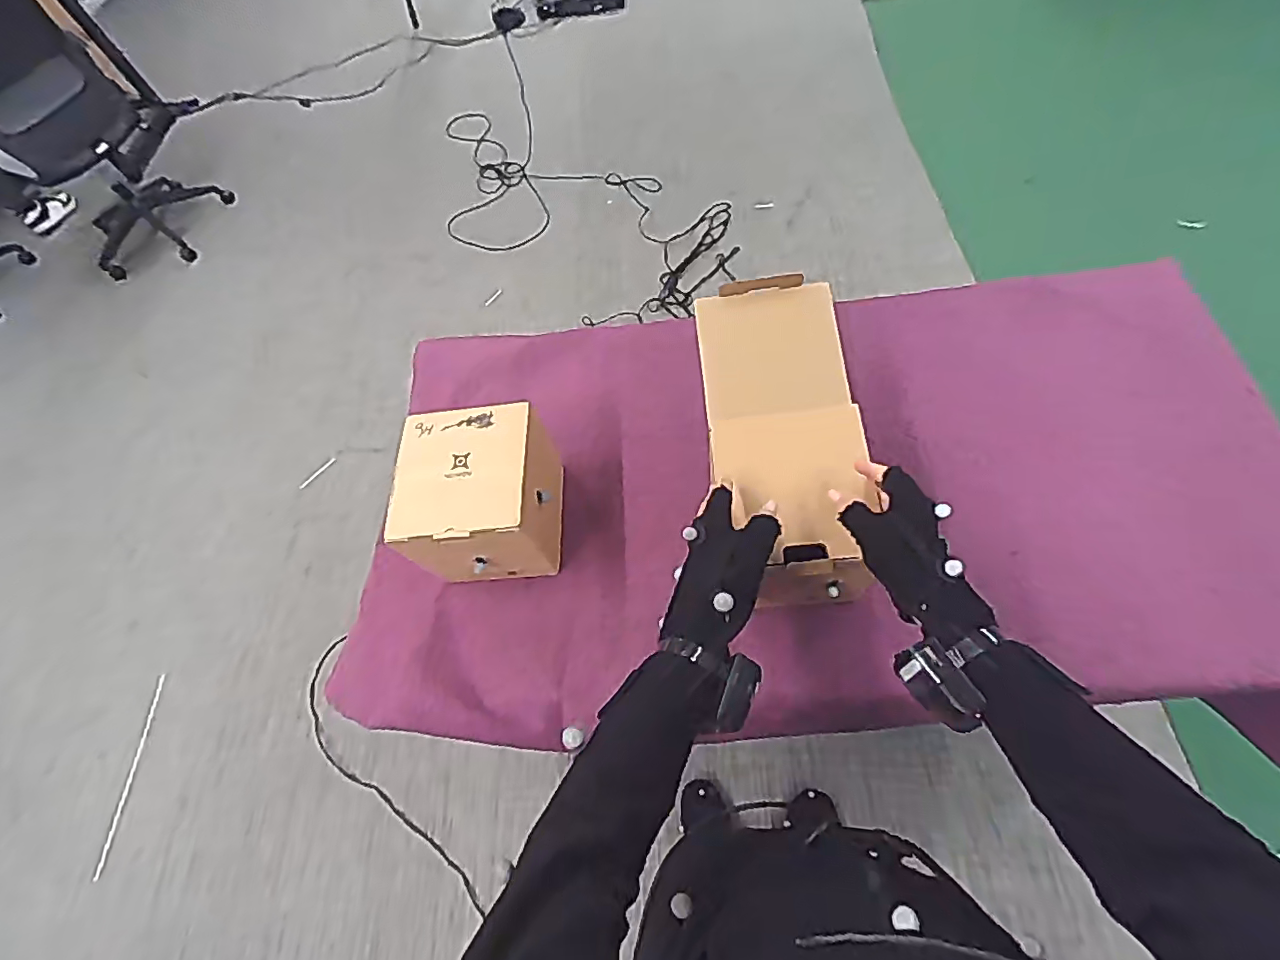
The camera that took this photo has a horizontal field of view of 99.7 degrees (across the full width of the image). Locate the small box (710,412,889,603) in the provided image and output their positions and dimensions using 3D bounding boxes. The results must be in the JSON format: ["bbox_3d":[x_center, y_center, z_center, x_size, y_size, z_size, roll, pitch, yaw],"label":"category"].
[{"bbox_3d":[0.176,0.044,0.648,0.168,0.176,0.179,-5,61,6],"label":"small box"}]

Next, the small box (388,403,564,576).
[{"bbox_3d":[-0.202,0.023,0.720,0.168,0.176,0.179,-5,63,6],"label":"small box"}]
